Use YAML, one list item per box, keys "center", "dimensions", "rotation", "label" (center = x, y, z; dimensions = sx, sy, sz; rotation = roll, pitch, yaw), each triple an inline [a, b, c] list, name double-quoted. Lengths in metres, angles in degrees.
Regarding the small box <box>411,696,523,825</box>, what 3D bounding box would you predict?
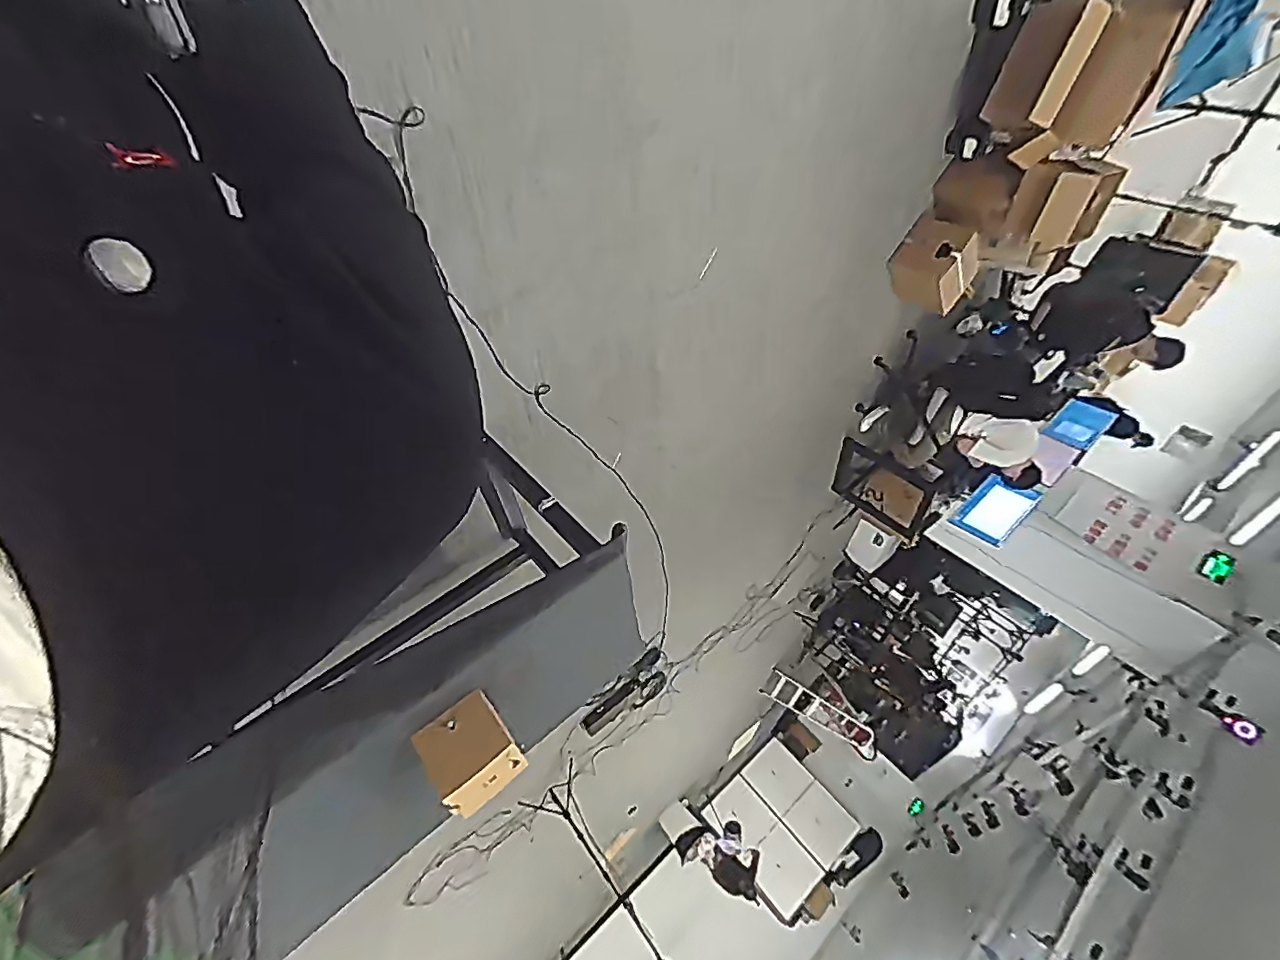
- center: [-0.401, 0.639, 1.240]
  dimensions: [0.179, 0.176, 0.168]
  rotation: [-33, 143, -23]
  label: "small box"
